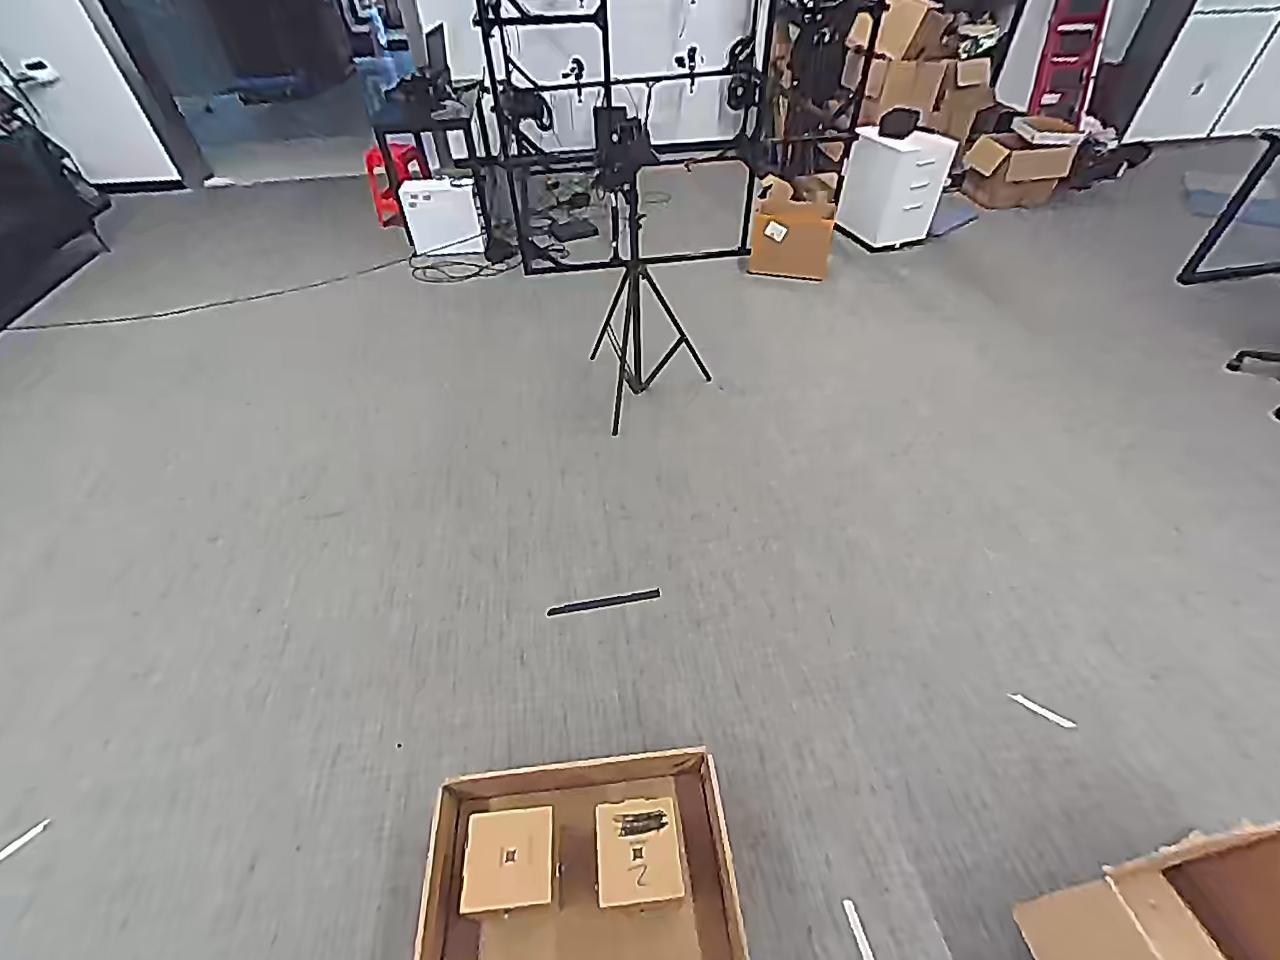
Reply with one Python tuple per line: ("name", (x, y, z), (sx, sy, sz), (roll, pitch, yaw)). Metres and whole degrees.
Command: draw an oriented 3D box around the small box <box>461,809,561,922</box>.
("small box", (-0.264, 0.819, 1.147), (0.179, 0.176, 0.168), (-4, 47, -4))
